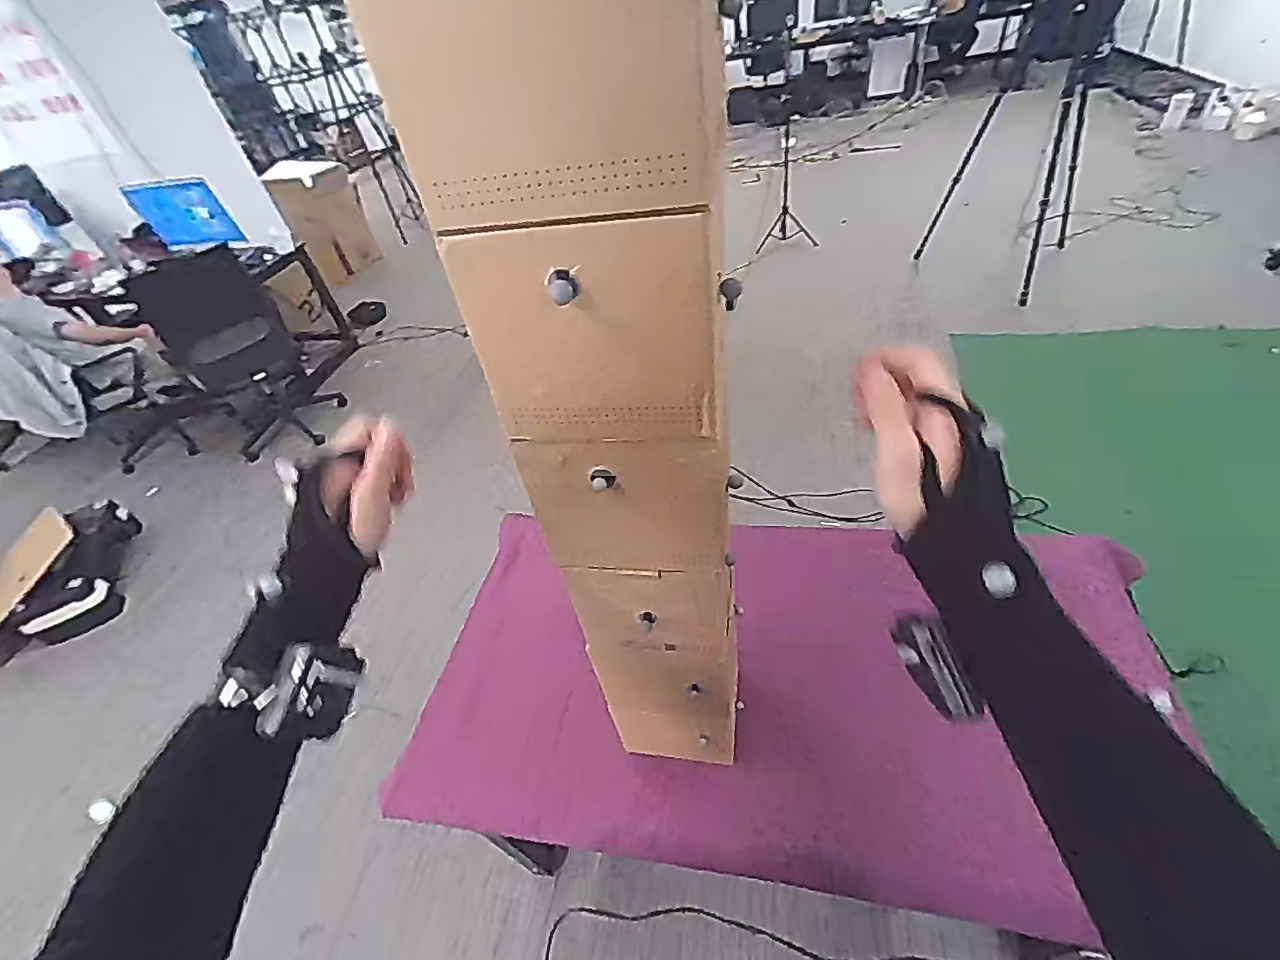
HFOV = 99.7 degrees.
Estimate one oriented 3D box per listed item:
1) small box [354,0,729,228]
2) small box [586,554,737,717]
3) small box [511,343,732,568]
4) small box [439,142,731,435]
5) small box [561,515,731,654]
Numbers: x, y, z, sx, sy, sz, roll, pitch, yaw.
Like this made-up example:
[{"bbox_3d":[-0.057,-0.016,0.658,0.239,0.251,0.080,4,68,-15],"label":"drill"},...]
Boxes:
[{"bbox_3d":[-0.040,-0.268,0.324,0.179,0.176,0.168,1,43,13],"label":"small box"},{"bbox_3d":[0.043,0.213,0.758,0.179,0.176,0.168,1,43,14],"label":"small box"},{"bbox_3d":[-0.001,-0.027,0.541,0.179,0.176,0.168,1,43,12],"label":"small box"},{"bbox_3d":[-0.019,-0.148,0.434,0.179,0.176,0.168,0,43,13],"label":"small box"},{"bbox_3d":[0.021,0.091,0.654,0.168,0.176,0.179,1,44,12],"label":"small box"}]
